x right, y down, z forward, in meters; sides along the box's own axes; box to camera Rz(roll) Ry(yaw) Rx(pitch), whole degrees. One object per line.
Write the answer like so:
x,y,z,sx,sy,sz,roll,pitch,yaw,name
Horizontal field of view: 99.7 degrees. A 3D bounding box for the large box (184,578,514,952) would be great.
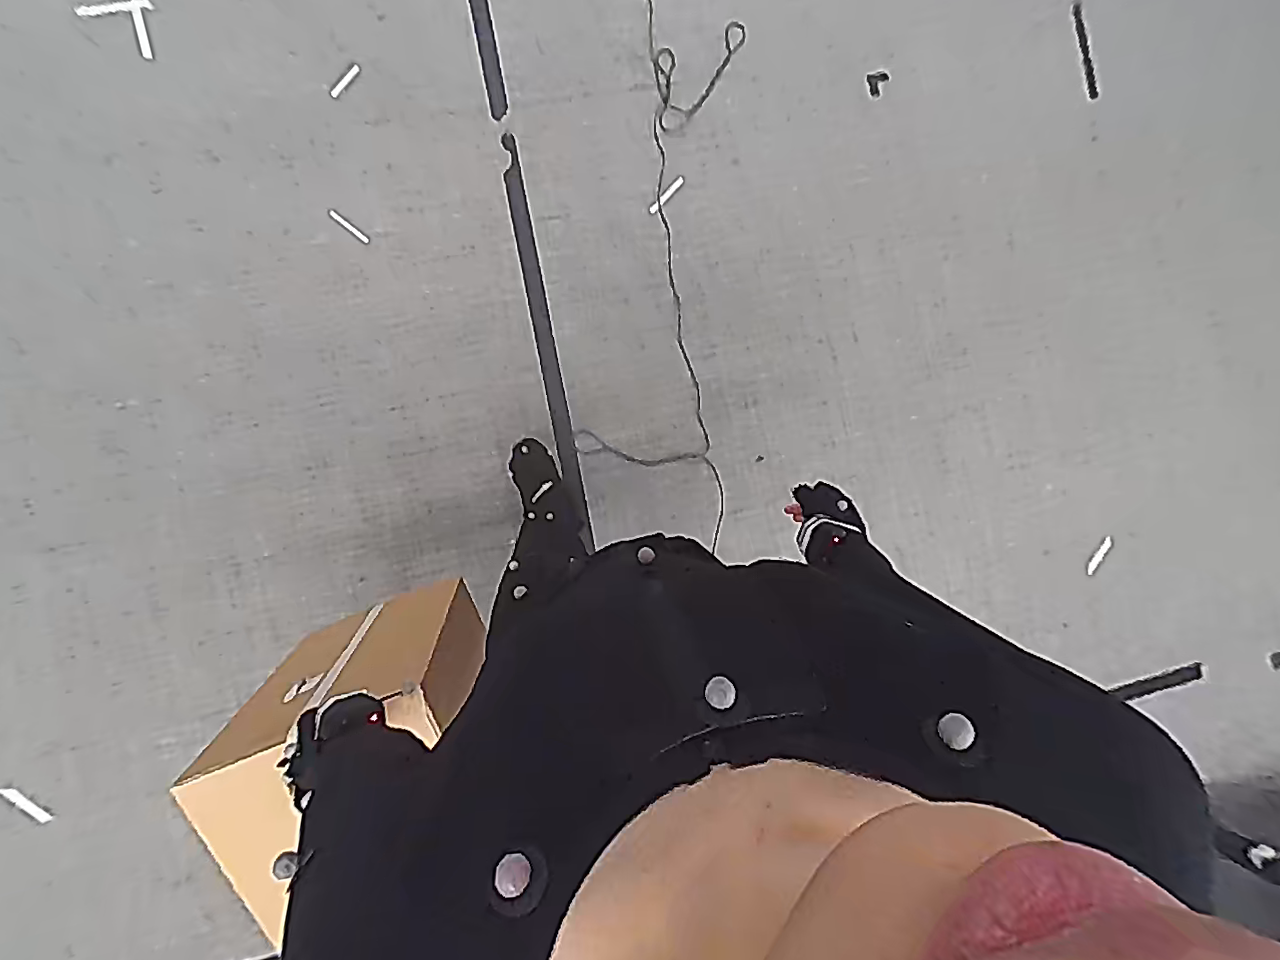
-0.411,0.417,0.899,0.320,0.408,0.320,-22,104,-7,large box
